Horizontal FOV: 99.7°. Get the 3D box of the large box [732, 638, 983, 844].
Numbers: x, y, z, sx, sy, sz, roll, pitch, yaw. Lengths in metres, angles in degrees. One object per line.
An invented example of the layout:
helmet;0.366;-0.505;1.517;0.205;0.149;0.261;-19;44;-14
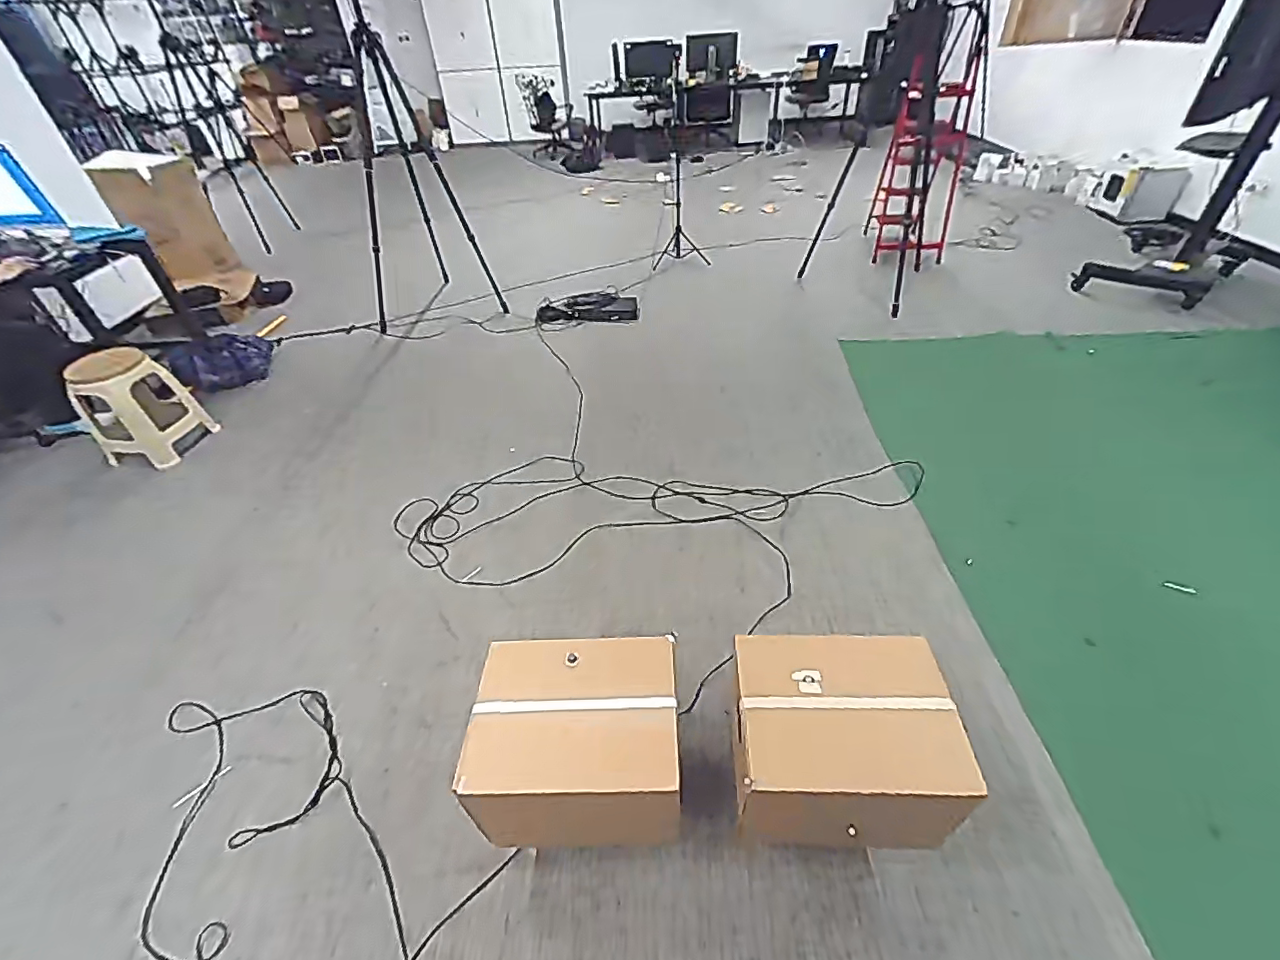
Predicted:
large box;0.415;0.557;1.156;0.408;0.320;0.320;-1;41;5
